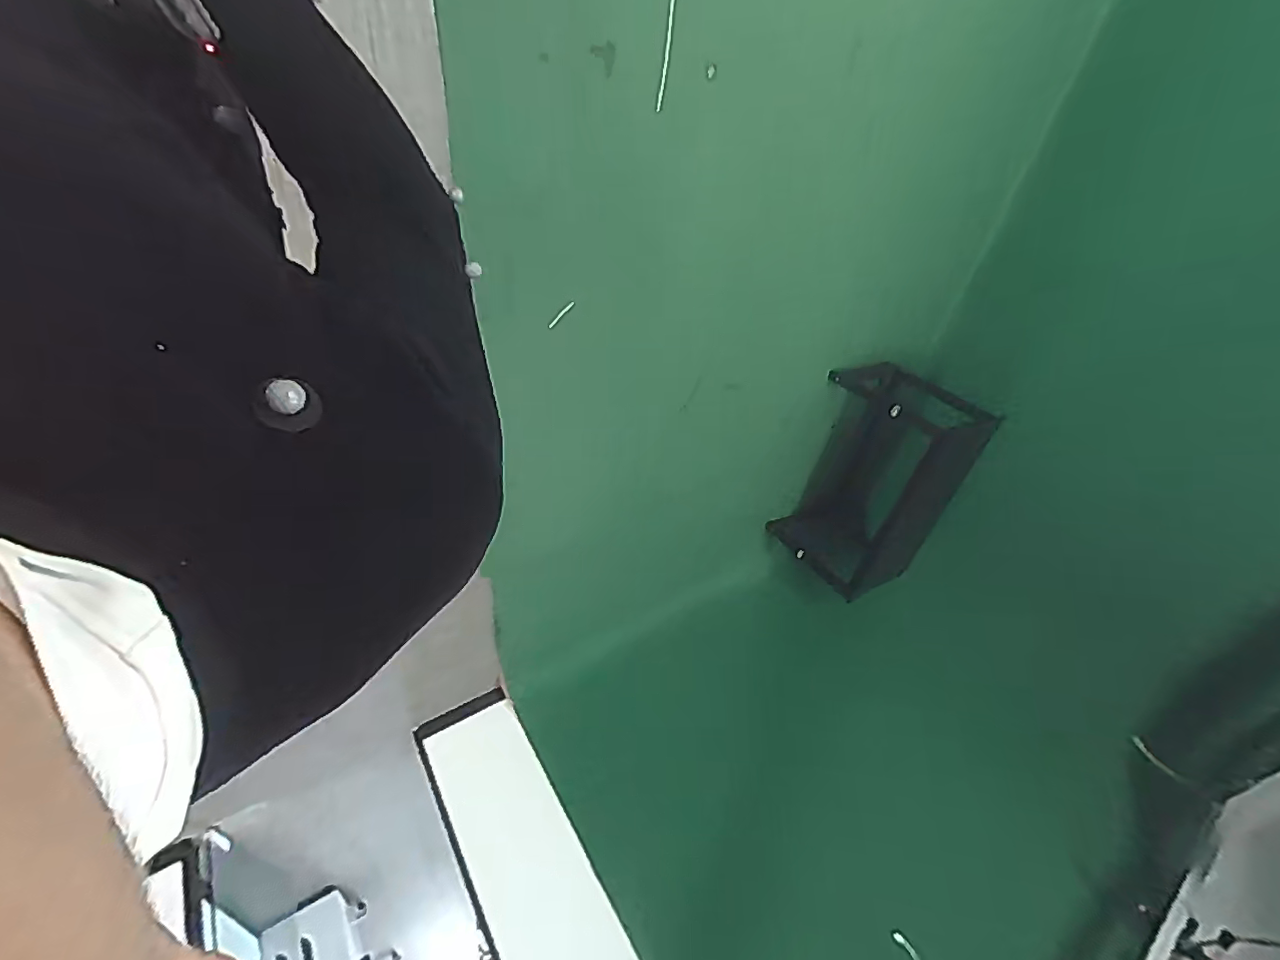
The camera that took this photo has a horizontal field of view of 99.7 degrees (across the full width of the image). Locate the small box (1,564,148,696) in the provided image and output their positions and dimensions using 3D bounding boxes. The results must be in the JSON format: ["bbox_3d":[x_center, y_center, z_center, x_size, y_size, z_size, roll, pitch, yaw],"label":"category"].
[{"bbox_3d":[-1.141,0.294,1.103,0.168,0.176,0.179,-15,133,-35],"label":"small box"}]
